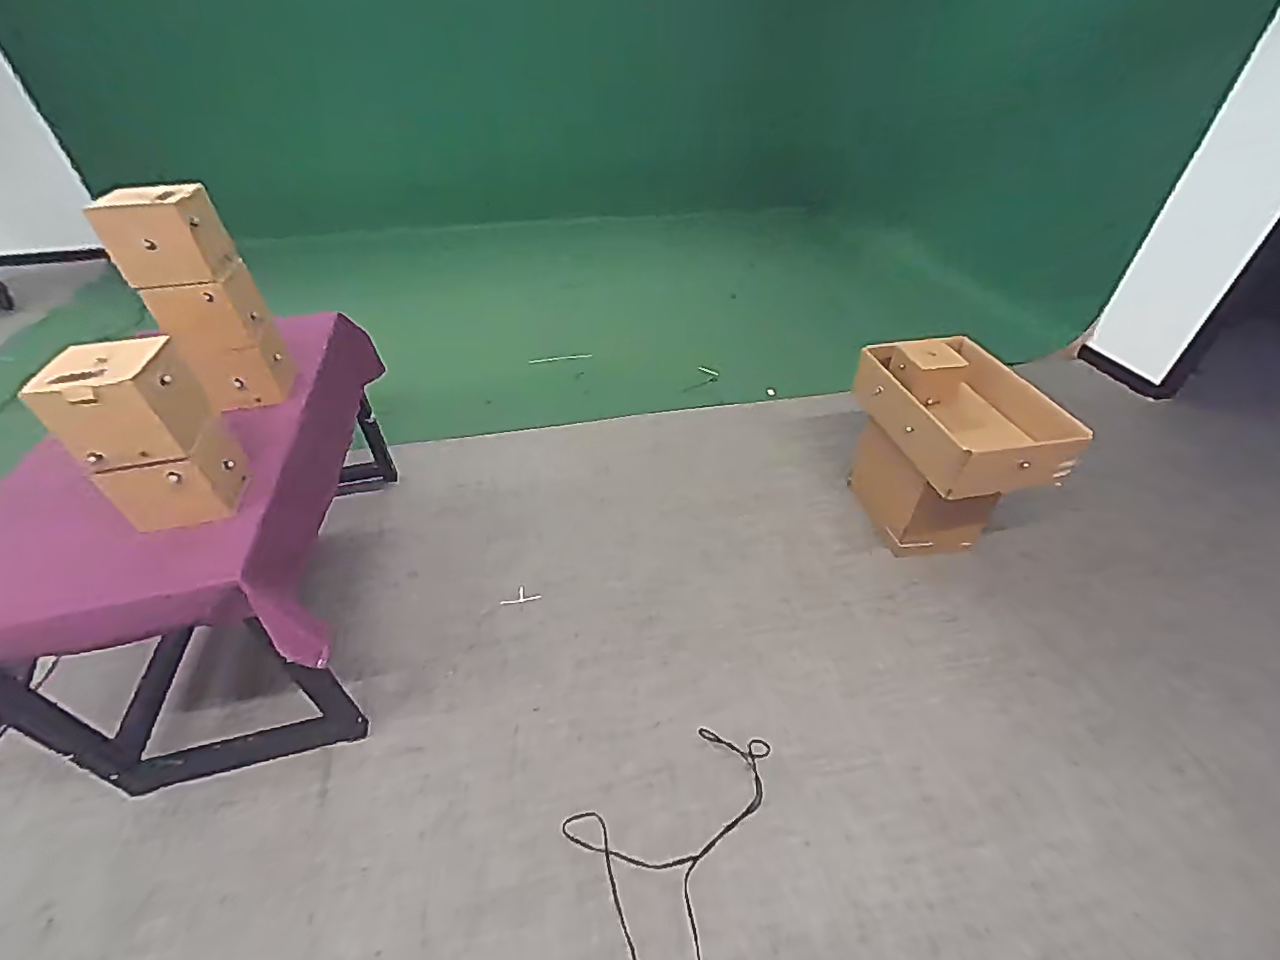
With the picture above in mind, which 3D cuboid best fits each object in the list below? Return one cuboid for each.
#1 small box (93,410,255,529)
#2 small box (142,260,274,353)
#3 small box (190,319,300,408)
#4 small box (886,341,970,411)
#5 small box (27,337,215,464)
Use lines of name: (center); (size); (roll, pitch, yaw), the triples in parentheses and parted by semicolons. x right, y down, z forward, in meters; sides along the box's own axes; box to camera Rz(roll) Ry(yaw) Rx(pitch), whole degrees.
small box: (-0.945, -0.021, 1.122); (0.179, 0.176, 0.168); (-10, 41, -10)
small box: (-1.054, -0.426, 1.339); (0.179, 0.176, 0.168); (-9, 42, -10)
small box: (-1.046, -0.307, 1.450); (0.168, 0.176, 0.179); (-11, 43, -11)
small box: (0.975, -0.356, 1.850); (0.168, 0.176, 0.179); (-7, 41, -5)
small box: (-0.946, -0.144, 1.012); (0.168, 0.176, 0.179); (-10, 41, -11)
